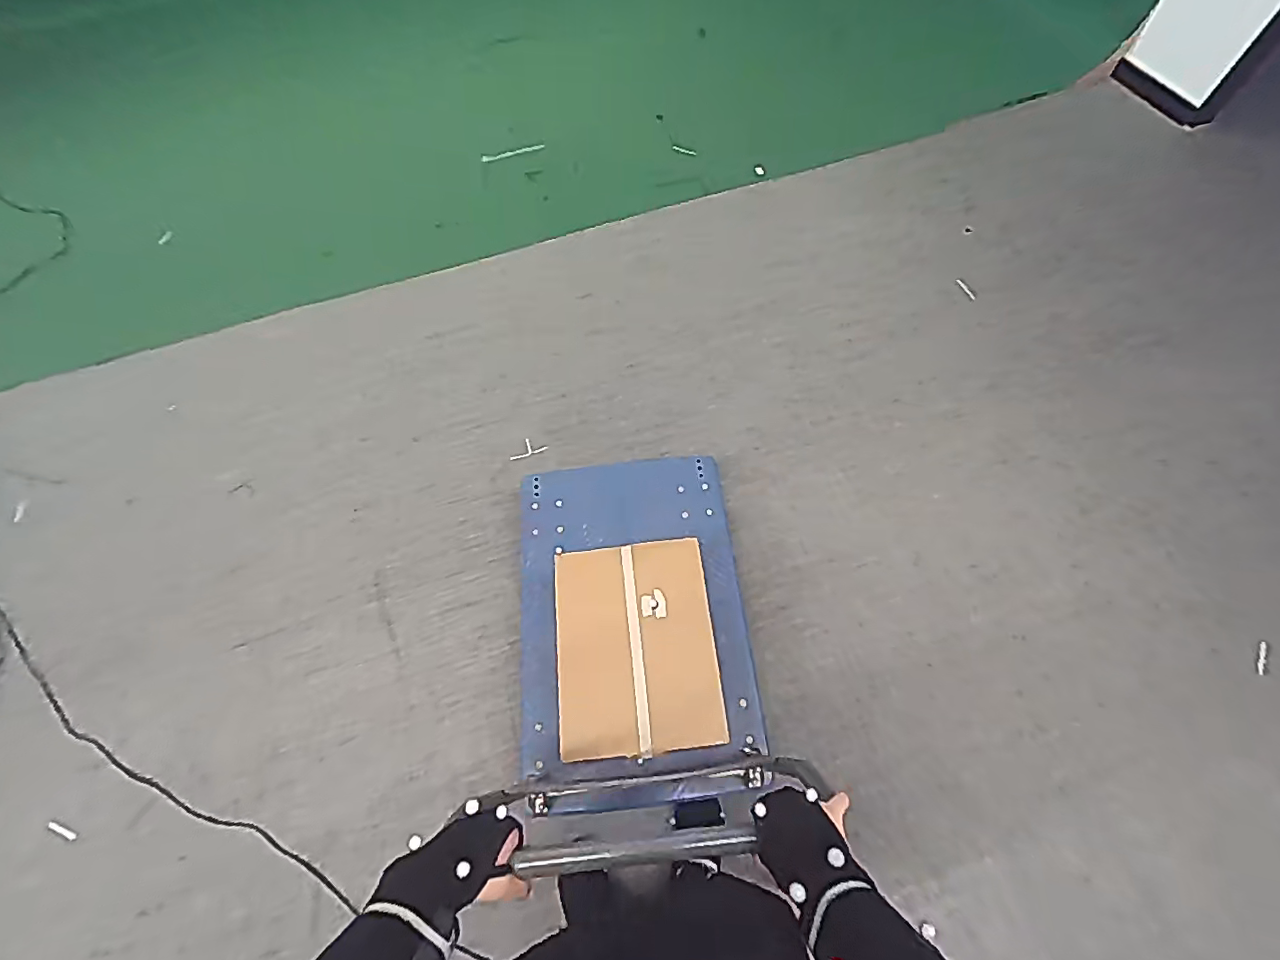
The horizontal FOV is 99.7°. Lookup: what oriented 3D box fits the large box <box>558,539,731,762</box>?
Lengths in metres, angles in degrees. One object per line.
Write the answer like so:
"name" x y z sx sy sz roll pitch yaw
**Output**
"large box" 0.004 0.389 1.209 0.320 0.320 0.408 -6 62 0
